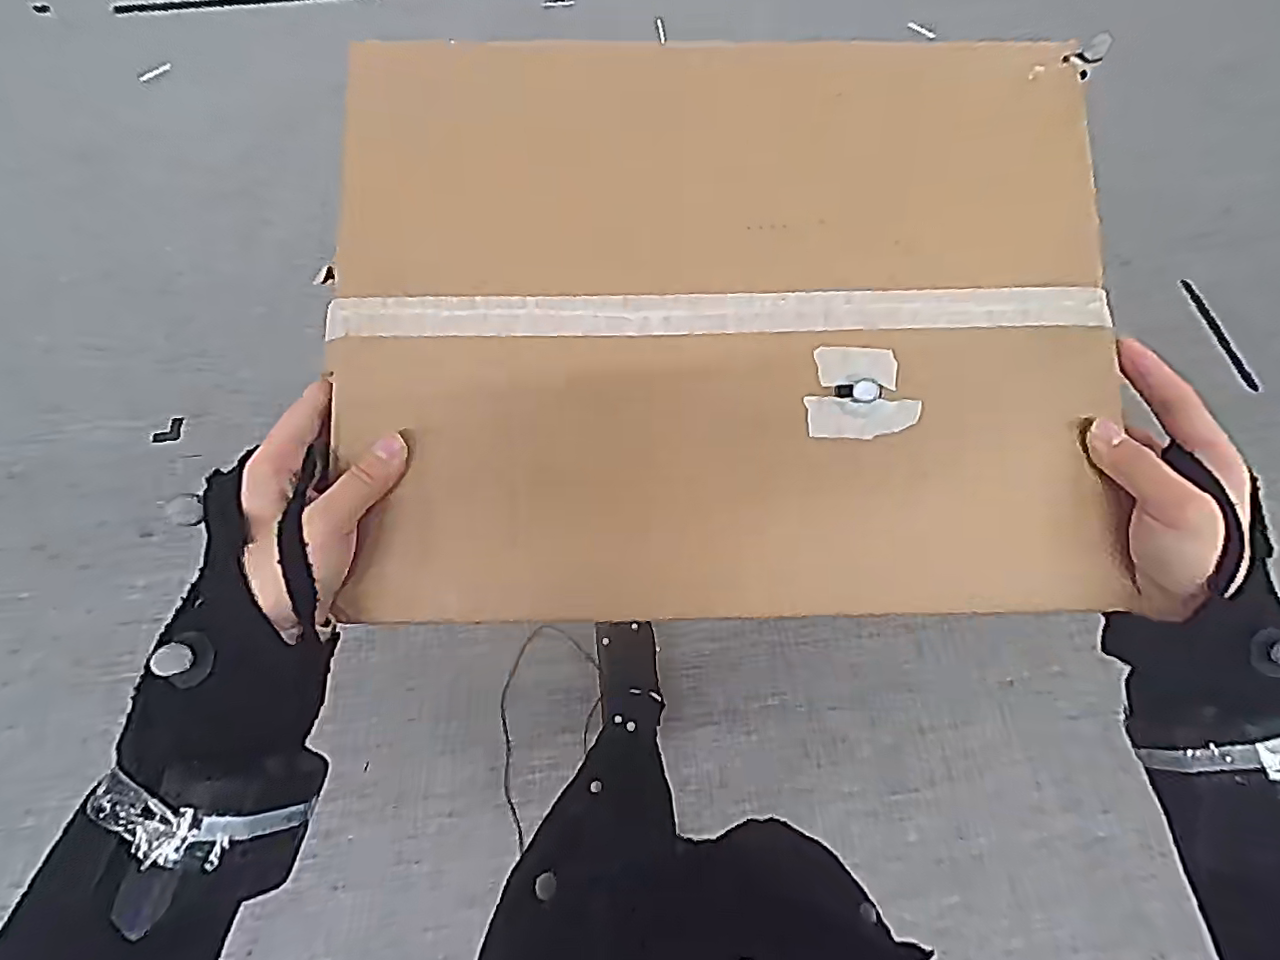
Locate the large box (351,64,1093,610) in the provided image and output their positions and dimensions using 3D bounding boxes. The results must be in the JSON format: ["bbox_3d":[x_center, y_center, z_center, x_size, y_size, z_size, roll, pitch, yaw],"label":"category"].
[{"bbox_3d":[0.038,-0.075,0.449,0.408,0.320,0.320,-1,85,-1],"label":"large box"}]
